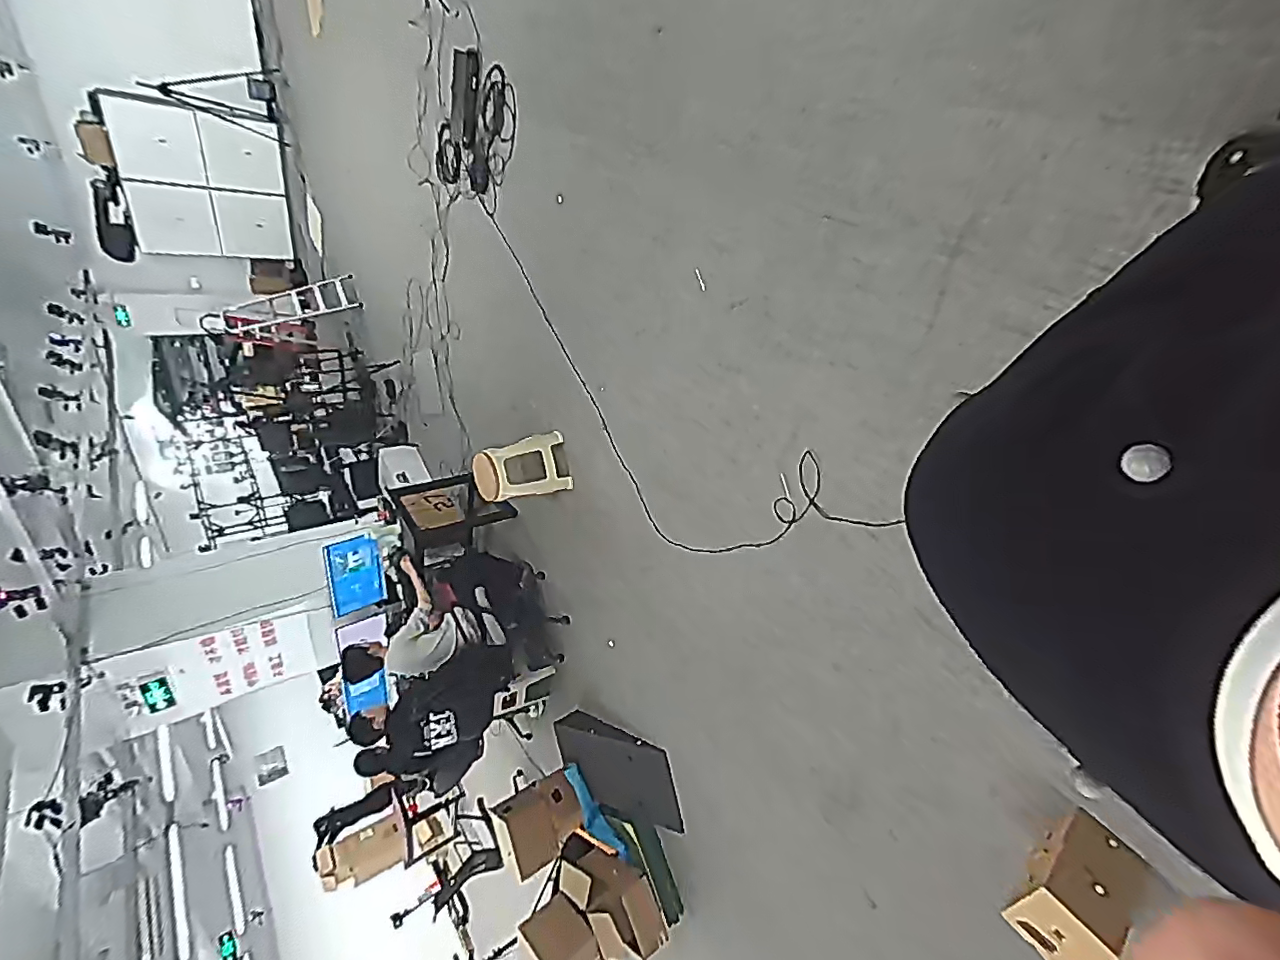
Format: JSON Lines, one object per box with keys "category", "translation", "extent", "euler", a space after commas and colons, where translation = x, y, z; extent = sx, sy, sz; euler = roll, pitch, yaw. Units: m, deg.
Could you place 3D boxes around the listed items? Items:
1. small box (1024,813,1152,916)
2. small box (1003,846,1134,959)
{"category": "small box", "translation": [1.150, 1.000, 1.391], "extent": [0.179, 0.176, 0.168], "euler": [43, 134, 35]}
{"category": "small box", "translation": [1.024, 1.029, 1.289], "extent": [0.168, 0.176, 0.179], "euler": [41, 132, 35]}
